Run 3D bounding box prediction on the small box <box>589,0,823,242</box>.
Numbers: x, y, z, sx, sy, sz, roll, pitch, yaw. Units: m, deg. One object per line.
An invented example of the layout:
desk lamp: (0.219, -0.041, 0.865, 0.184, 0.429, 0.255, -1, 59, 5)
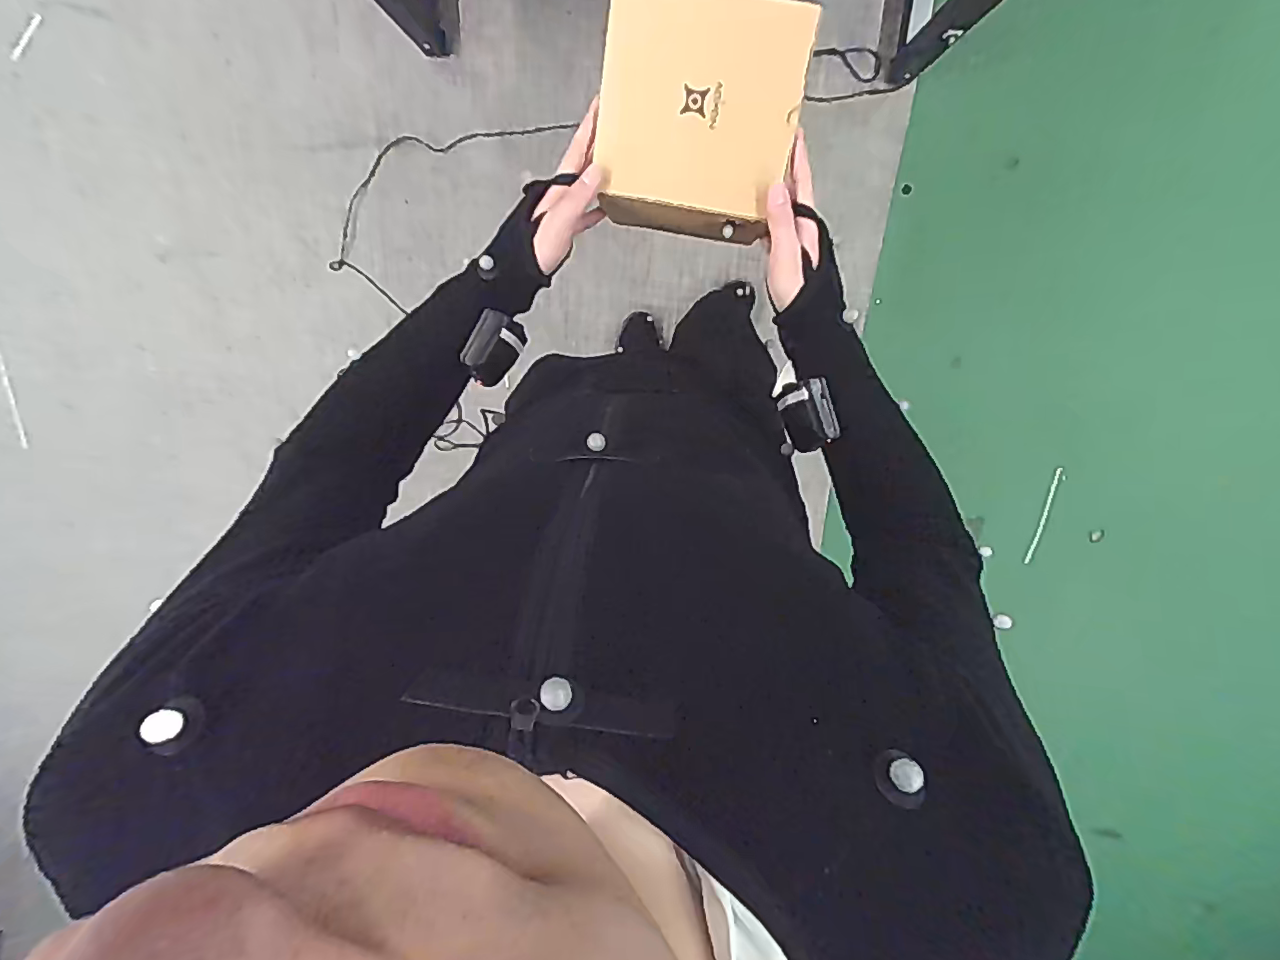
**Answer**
small box: (0.055, -0.347, 0.540, 0.179, 0.176, 0.168, 9, 106, -1)
